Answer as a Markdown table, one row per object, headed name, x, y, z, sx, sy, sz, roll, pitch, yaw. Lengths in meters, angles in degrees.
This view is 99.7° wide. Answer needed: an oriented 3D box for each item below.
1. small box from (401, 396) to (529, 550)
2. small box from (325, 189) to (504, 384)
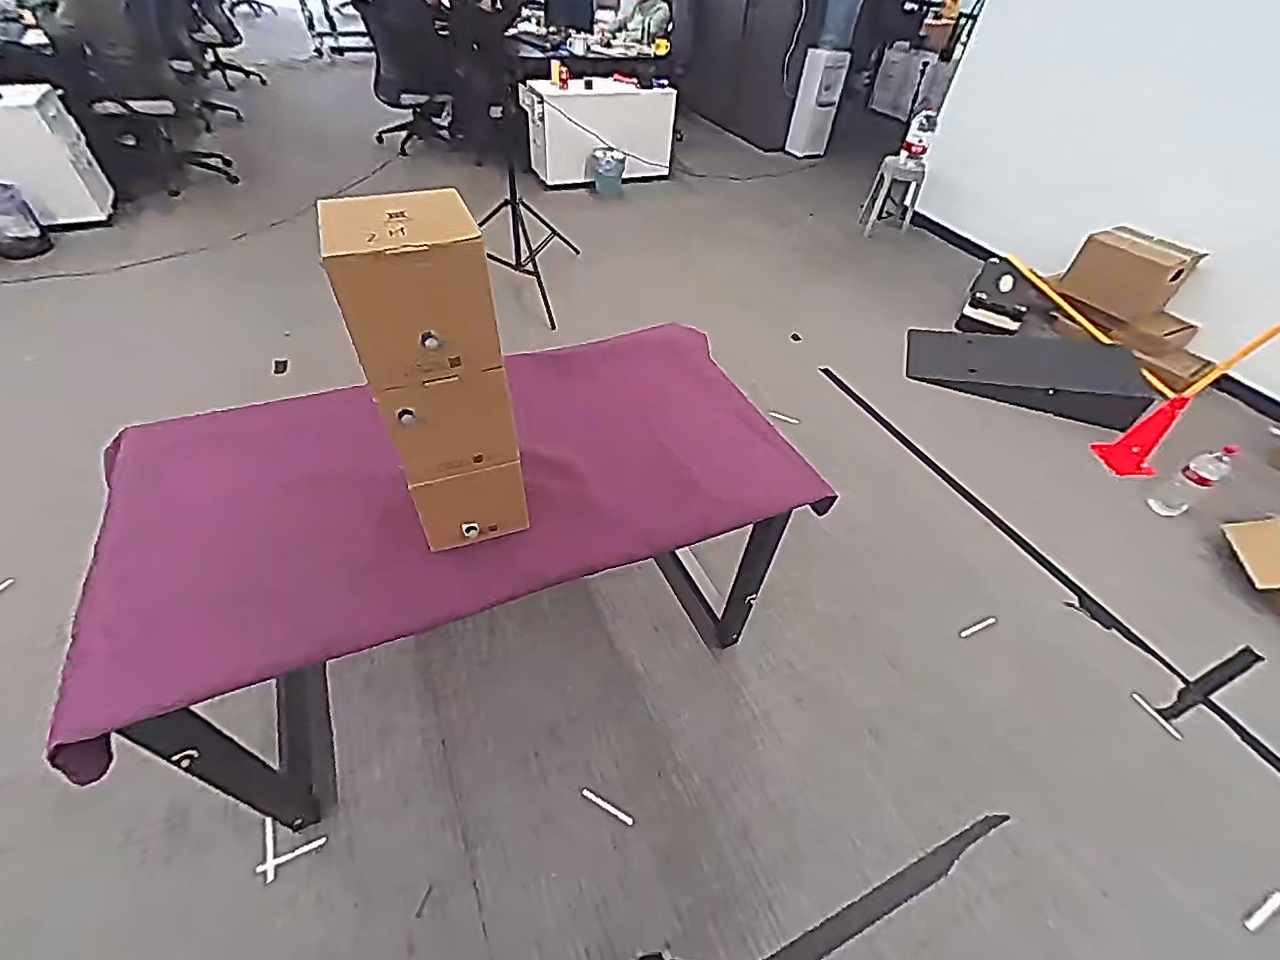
| name | x | y | z | sx | sy | sz | roll | pitch | yaw |
| --- | --- | --- | --- | --- | --- | --- | --- | --- | --- |
| small box | -0.293 | -0.013 | 0.917 | 0.168 | 0.176 | 0.179 | -15 | 50 | -18 |
| small box | -0.280 | -0.247 | 0.684 | 0.168 | 0.176 | 0.179 | -16 | 49 | -18 |
